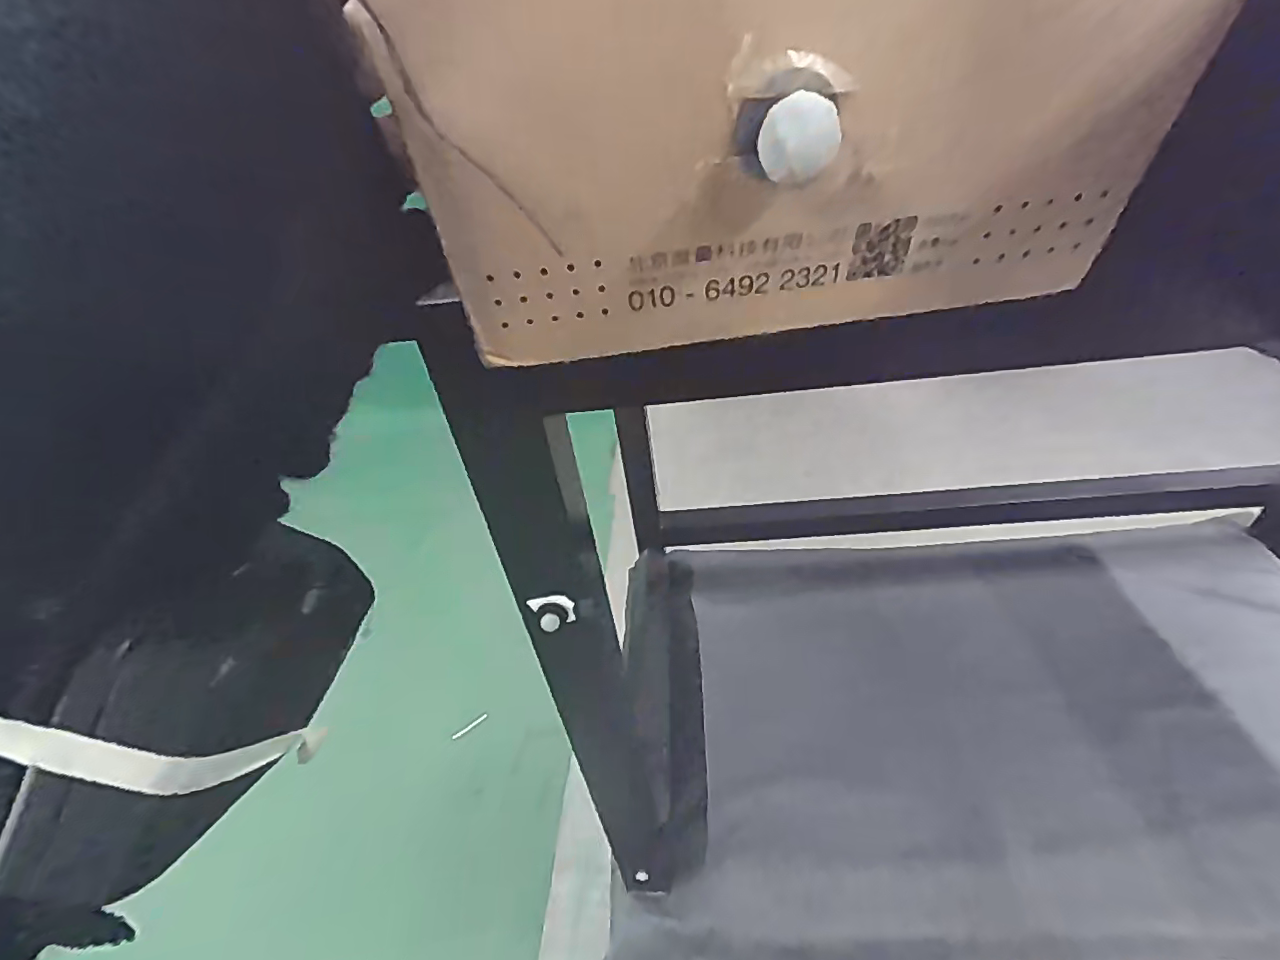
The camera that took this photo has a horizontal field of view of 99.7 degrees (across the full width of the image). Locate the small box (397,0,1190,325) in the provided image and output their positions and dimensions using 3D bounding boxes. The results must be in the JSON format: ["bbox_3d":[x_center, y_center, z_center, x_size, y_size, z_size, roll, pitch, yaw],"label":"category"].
[{"bbox_3d":[0.023,-0.166,0.146,0.168,0.176,0.179,-8,49,-1],"label":"small box"}]
